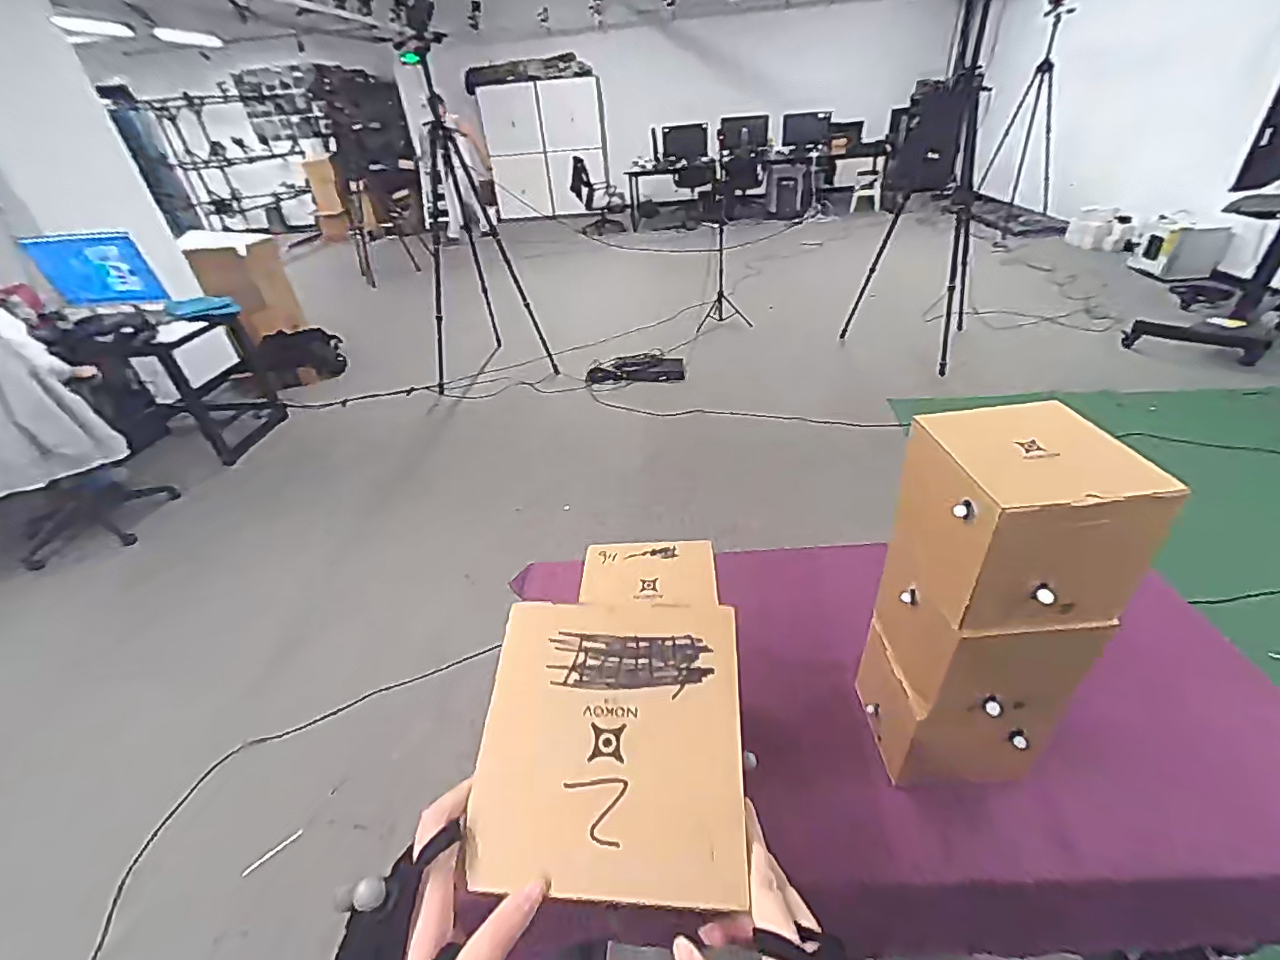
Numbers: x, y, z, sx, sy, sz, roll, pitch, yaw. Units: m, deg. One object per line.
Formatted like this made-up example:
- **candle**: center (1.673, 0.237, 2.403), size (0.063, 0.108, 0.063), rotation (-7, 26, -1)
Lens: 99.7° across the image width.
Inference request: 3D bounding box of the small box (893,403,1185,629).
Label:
- **small box**: center (0.400, 0.035, 0.588), size (0.168, 0.176, 0.179), rotation (-6, 36, 1)

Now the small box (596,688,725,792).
- **small box**: center (0.034, 0.328, 0.794), size (0.168, 0.176, 0.179), rotation (-3, 36, 4)

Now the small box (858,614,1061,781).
- **small box**: center (0.432, 0.305, 0.768), size (0.179, 0.176, 0.168), rotation (-4, 35, 3)

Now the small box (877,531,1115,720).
- **small box**: center (0.417, 0.171, 0.676), size (0.168, 0.176, 0.179), rotation (-5, 36, 3)

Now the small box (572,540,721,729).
- **small box**: center (0.017, 0.199, 0.693), size (0.168, 0.176, 0.179), rotation (-2, 36, 5)
